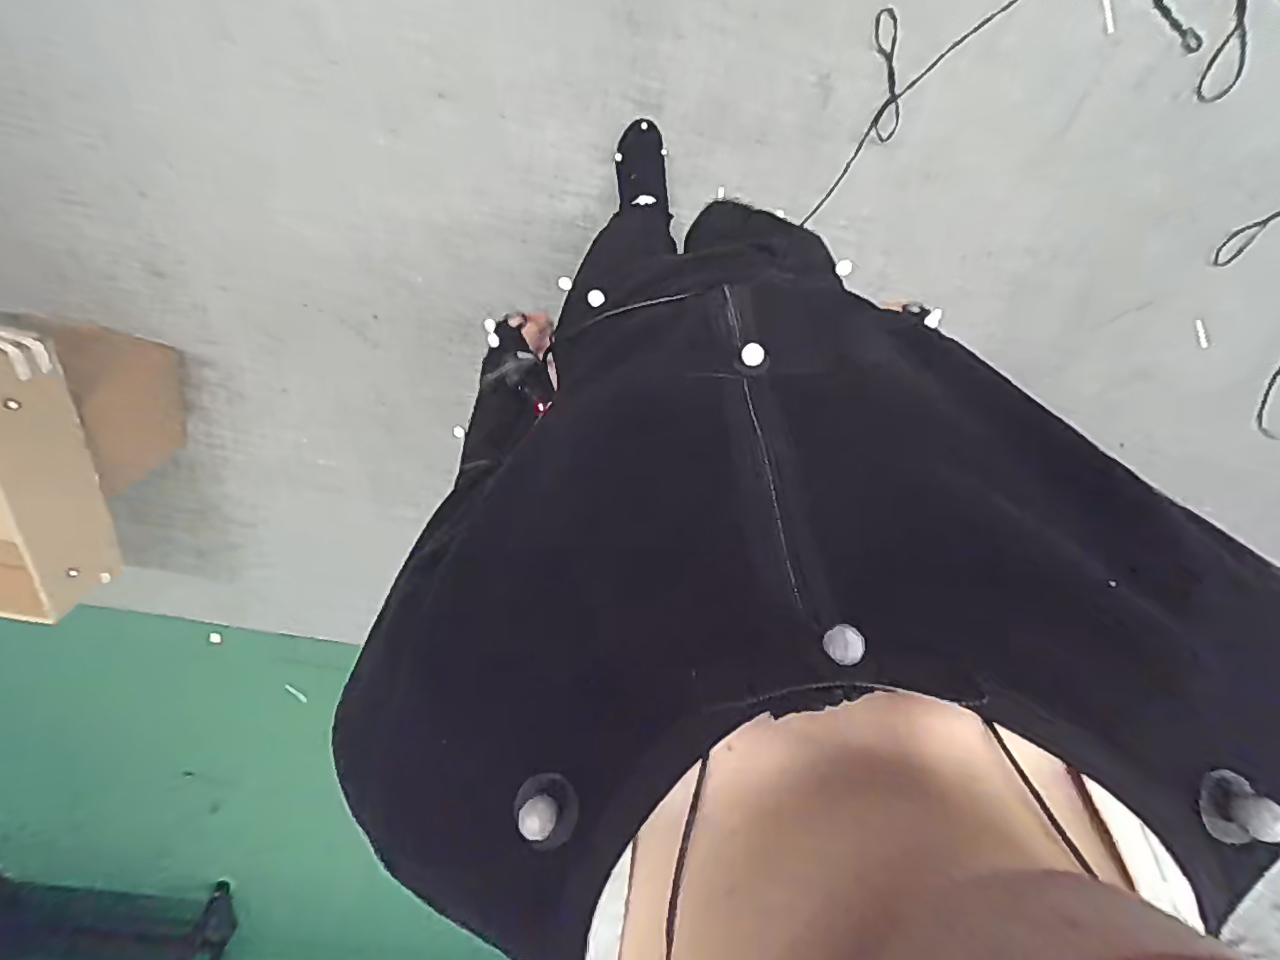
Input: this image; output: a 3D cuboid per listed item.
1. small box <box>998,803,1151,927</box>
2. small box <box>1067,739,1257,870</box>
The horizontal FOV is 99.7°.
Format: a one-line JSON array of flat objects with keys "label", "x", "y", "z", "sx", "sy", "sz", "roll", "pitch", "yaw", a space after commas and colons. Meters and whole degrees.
[{"label": "small box", "x": 0.961, "y": 0.863, "z": 1.219, "sx": 0.168, "sy": 0.176, "sz": 0.179, "roll": 16, "pitch": 120, "yaw": -9}, {"label": "small box", "x": 1.035, "y": 0.650, "z": 1.091, "sx": 0.179, "sy": 0.176, "sz": 0.168, "roll": 9, "pitch": 120, "yaw": -5}]
